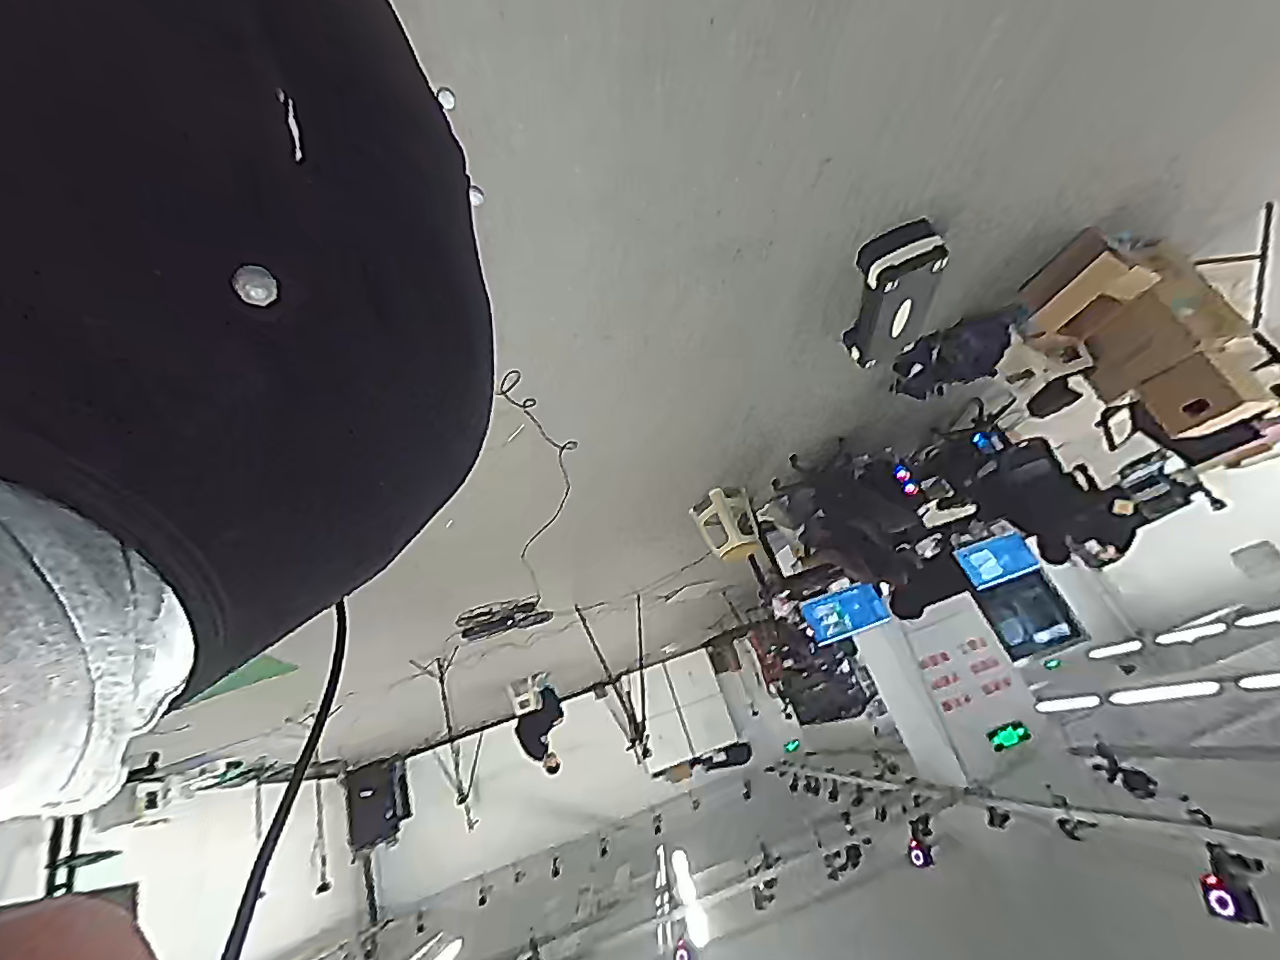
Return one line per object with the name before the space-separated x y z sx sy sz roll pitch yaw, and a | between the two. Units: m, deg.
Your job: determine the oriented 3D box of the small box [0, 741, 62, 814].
small box | -2.037 0.963 1.749 0.179 0.176 0.168 -18 153 -9
